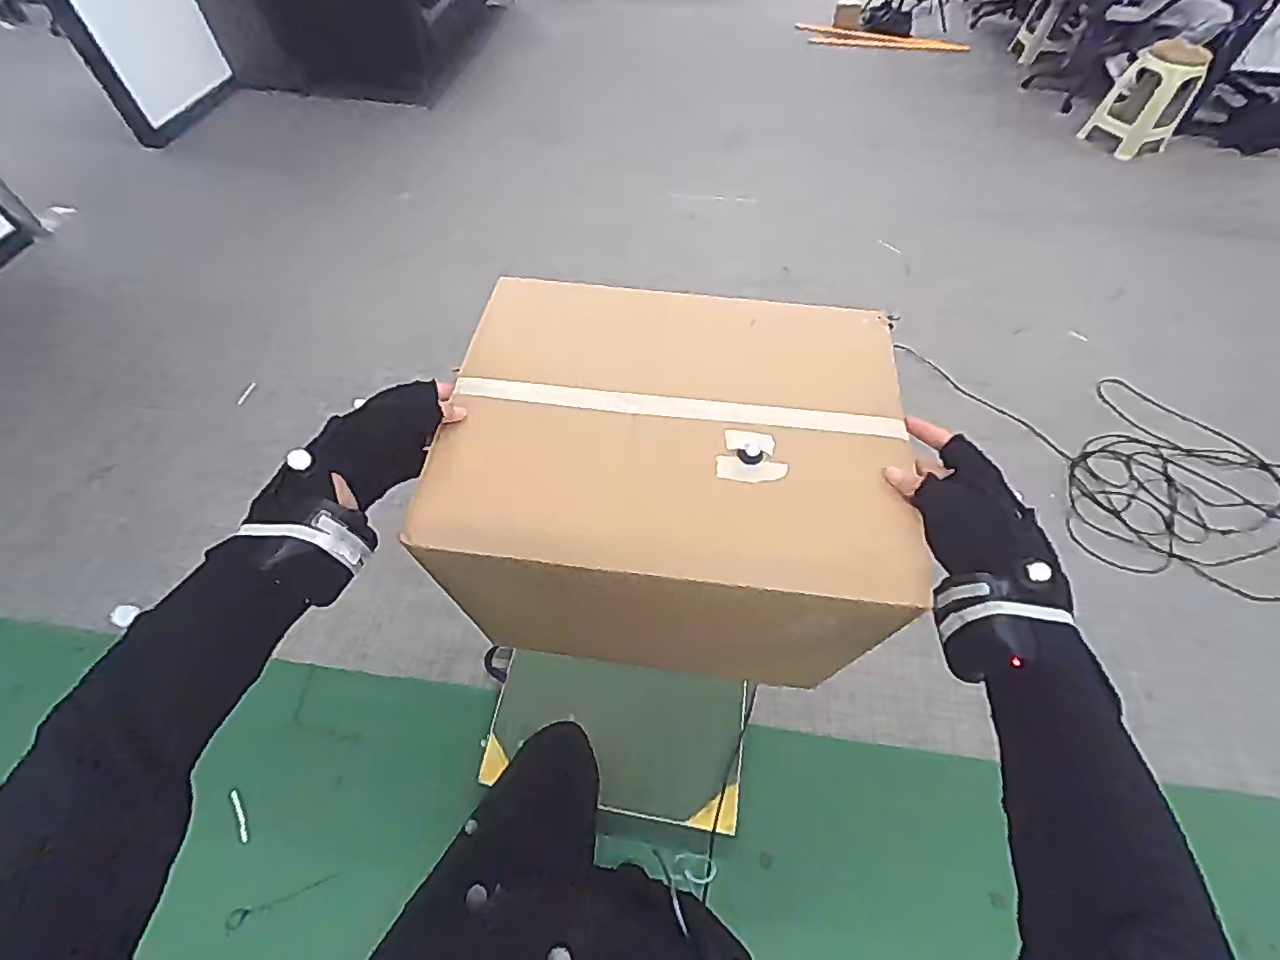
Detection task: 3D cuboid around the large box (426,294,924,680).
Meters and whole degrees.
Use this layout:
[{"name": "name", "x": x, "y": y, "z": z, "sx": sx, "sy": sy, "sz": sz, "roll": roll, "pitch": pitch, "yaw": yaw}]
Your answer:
[{"name": "large box", "x": 0.035, "y": 0.024, "z": 0.626, "sx": 0.408, "sy": 0.320, "sz": 0.320, "roll": 7, "pitch": 59, "yaw": 2}]
